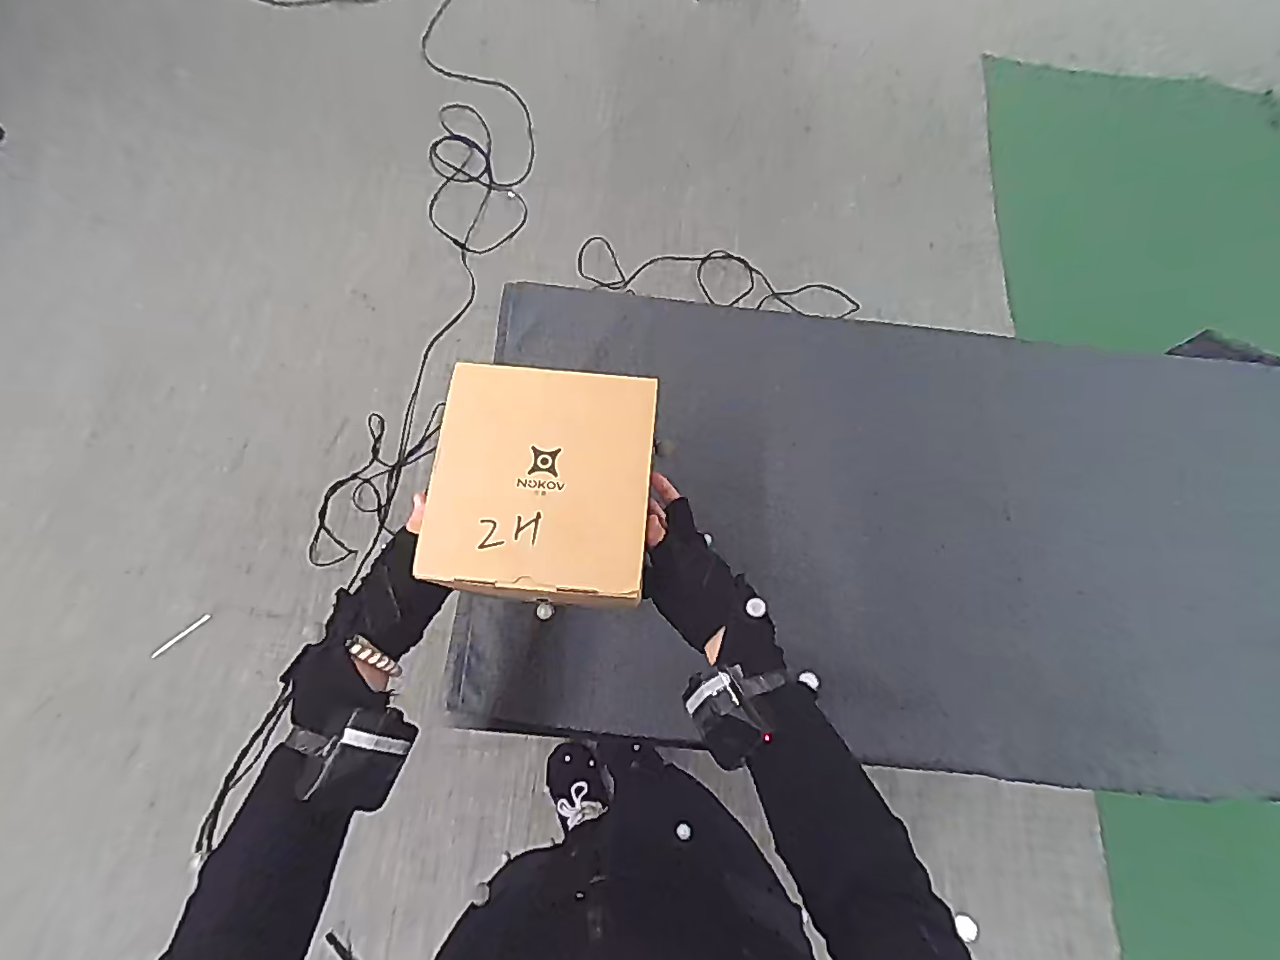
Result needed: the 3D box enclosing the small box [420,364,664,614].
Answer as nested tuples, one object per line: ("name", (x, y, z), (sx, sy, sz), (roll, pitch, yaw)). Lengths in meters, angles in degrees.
("small box", (-0.072, 0.019, 0.489), (0.168, 0.176, 0.179), (5, 72, 1))
